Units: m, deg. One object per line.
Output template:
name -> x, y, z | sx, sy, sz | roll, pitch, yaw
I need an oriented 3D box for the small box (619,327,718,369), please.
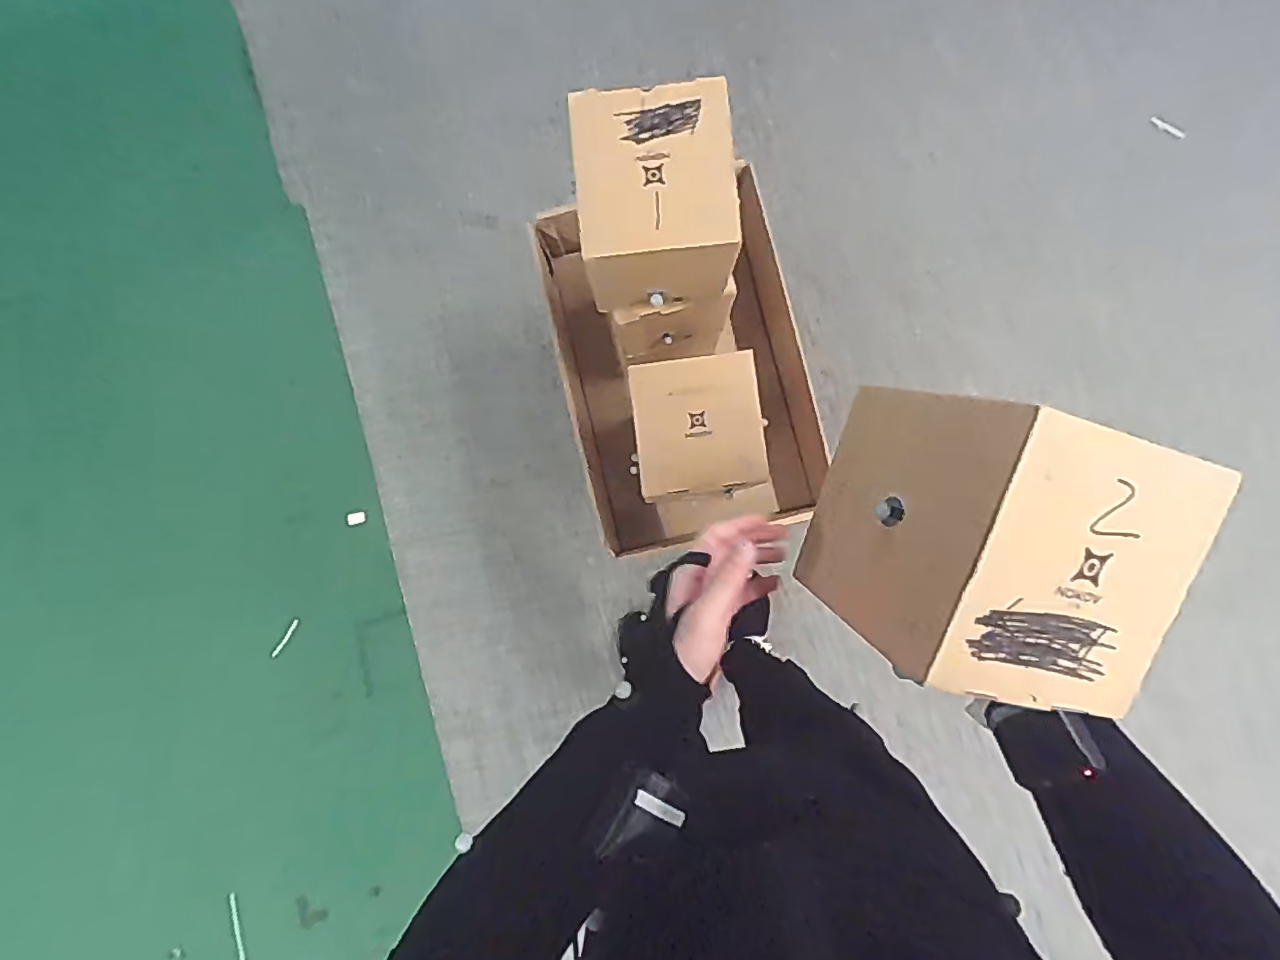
small box -> 0.032, -0.302, 0.962 | 0.168, 0.176, 0.179 | -14, 88, 2

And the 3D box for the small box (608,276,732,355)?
small box -> 0.025, -0.305, 0.800 | 0.168, 0.176, 0.179 | -15, 89, 1

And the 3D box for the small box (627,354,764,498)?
small box -> 0.075, -0.067, 0.781 | 0.168, 0.176, 0.179 | -6, 86, 1

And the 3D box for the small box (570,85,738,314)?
small box -> 0.015, -0.314, 0.636 | 0.168, 0.176, 0.179 | -5, 89, 2
